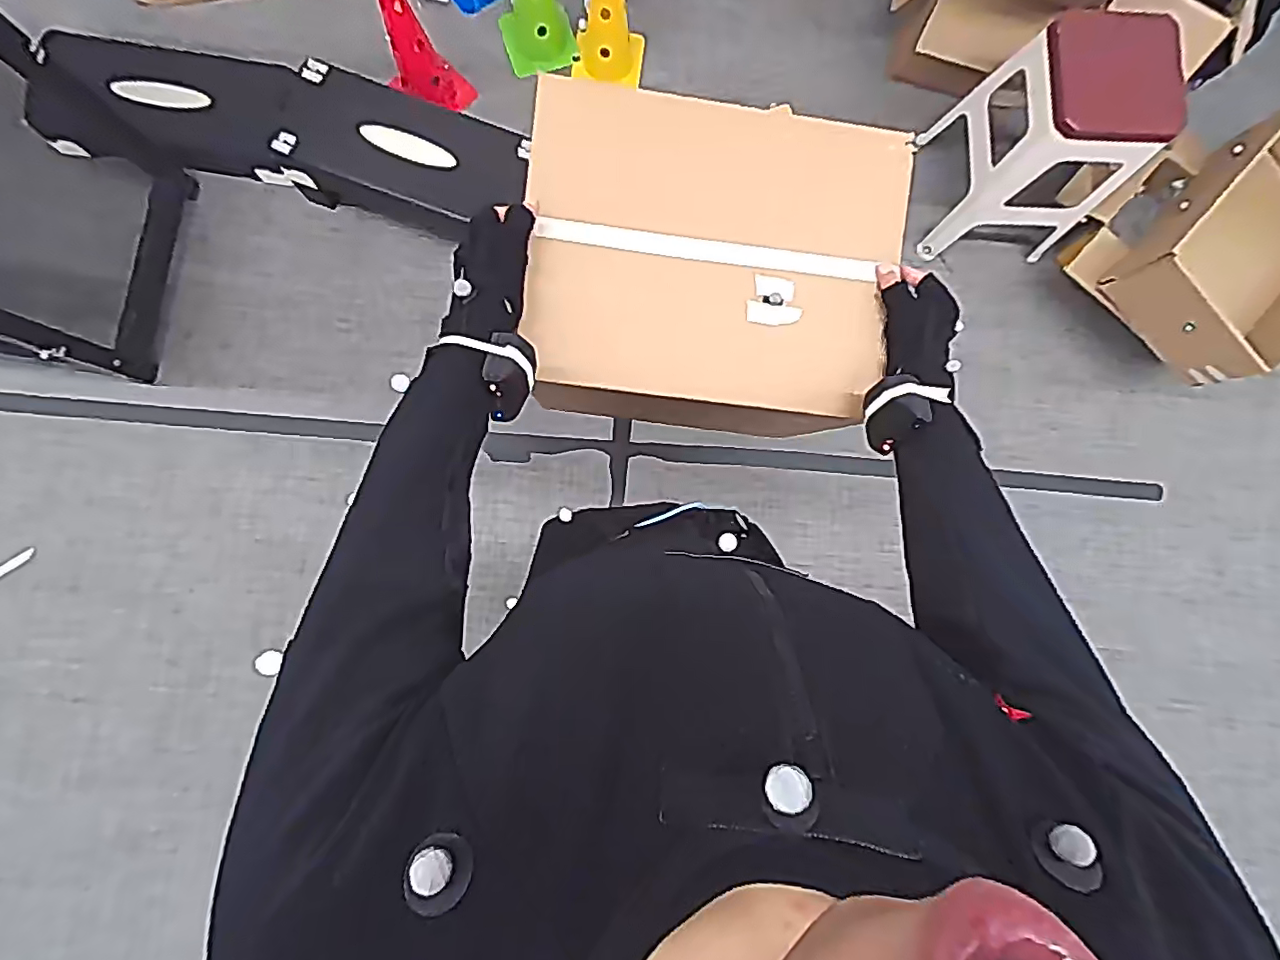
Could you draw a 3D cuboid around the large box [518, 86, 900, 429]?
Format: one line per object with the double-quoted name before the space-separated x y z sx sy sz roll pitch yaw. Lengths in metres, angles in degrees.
"large box" 0.066 -0.250 0.733 0.408 0.320 0.320 6 91 -5
